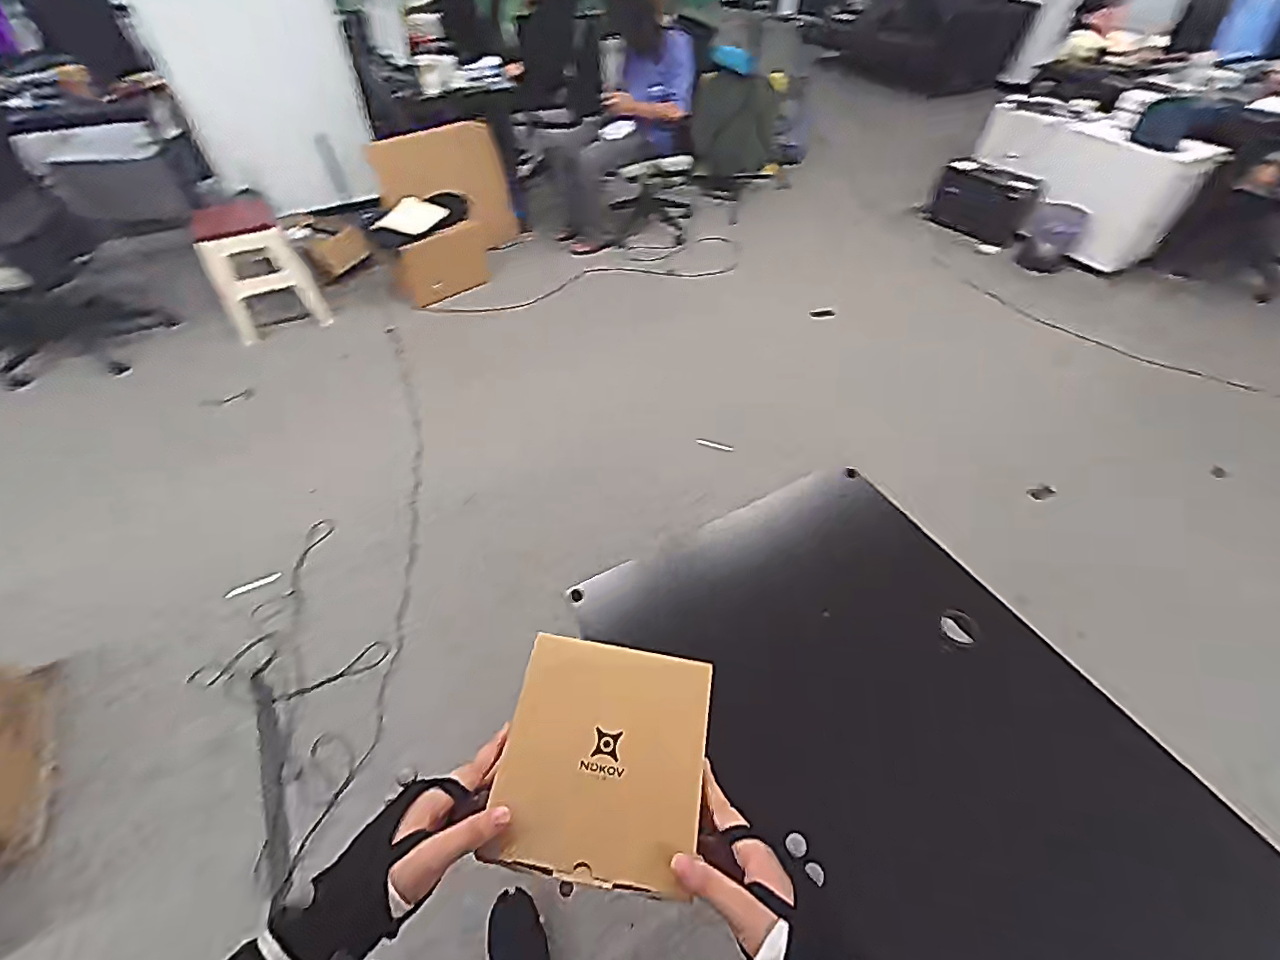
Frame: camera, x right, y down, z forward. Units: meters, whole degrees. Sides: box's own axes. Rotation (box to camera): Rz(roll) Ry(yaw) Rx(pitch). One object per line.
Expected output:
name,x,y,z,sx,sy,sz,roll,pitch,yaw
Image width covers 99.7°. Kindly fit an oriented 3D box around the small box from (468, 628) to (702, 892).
small box,-0.043,0.265,0.509,0.168,0.176,0.179,9,54,1
